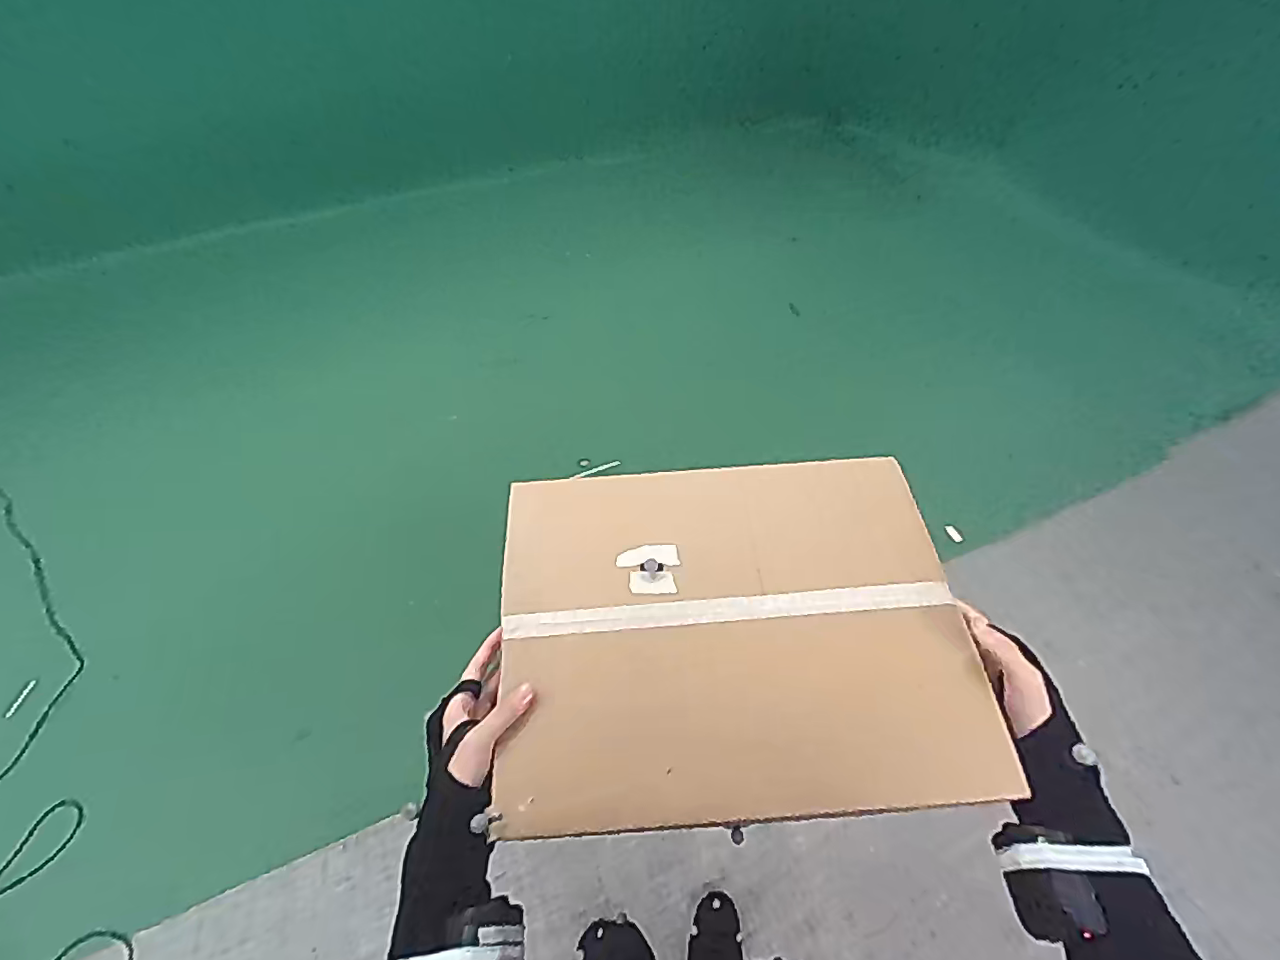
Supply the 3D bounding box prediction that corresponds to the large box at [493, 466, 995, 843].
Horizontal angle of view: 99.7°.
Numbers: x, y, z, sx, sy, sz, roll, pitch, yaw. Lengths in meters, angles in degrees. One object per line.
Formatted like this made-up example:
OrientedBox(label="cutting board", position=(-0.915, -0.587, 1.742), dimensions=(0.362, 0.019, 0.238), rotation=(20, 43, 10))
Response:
OrientedBox(label="large box", position=(0.079, 0.209, 0.623), dimensions=(0.408, 0.320, 0.320), rotation=(-5, 57, 0))
